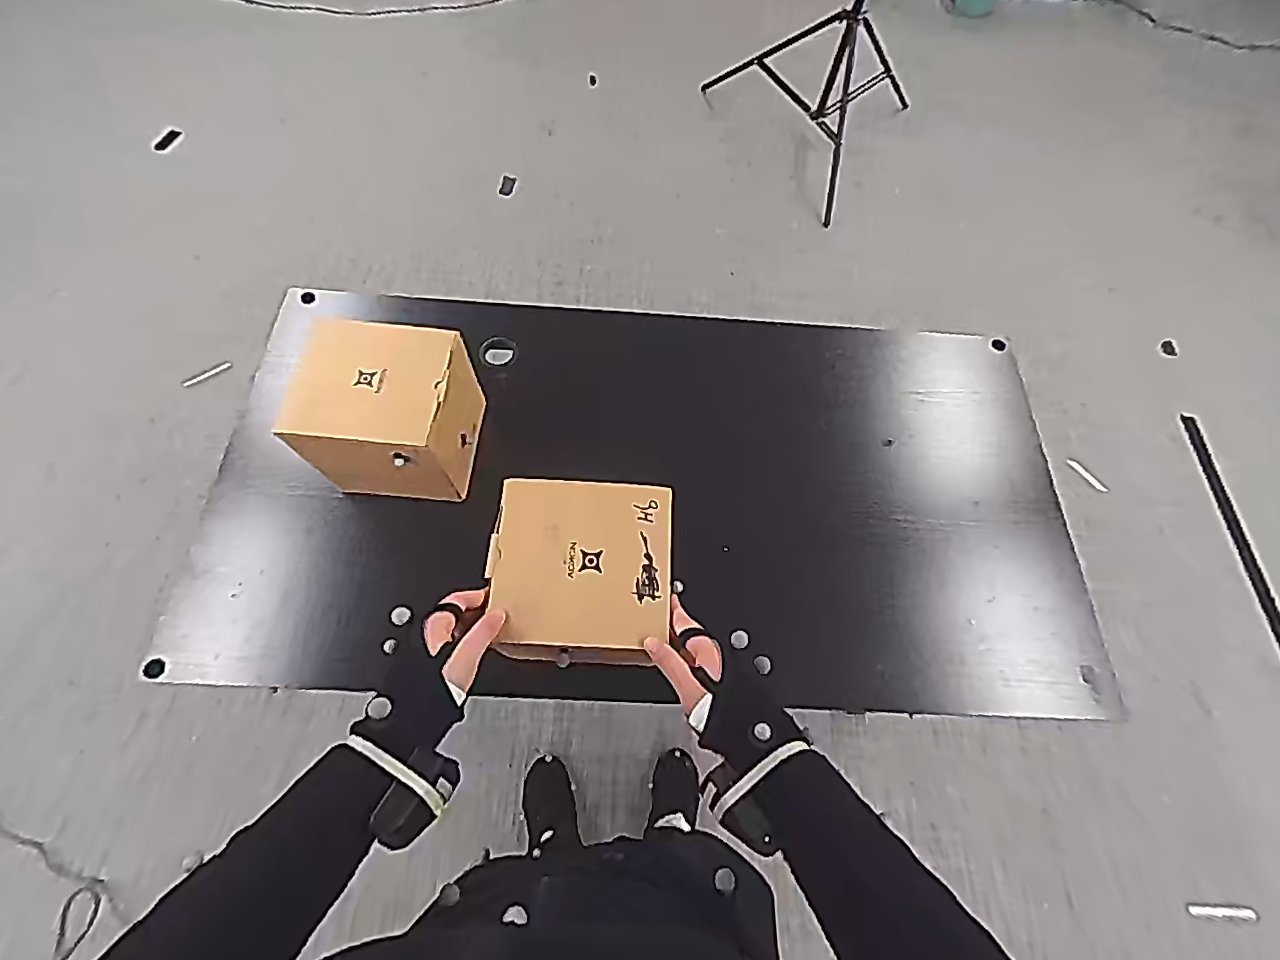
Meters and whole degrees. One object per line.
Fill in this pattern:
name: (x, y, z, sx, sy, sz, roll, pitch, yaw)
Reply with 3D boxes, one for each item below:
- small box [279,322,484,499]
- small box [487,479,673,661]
small box: (-0.322, -0.084, 0.717, 0.179, 0.176, 0.168, 5, 66, -3)
small box: (-0.058, 0.110, 0.613, 0.179, 0.176, 0.168, 3, 66, -2)
